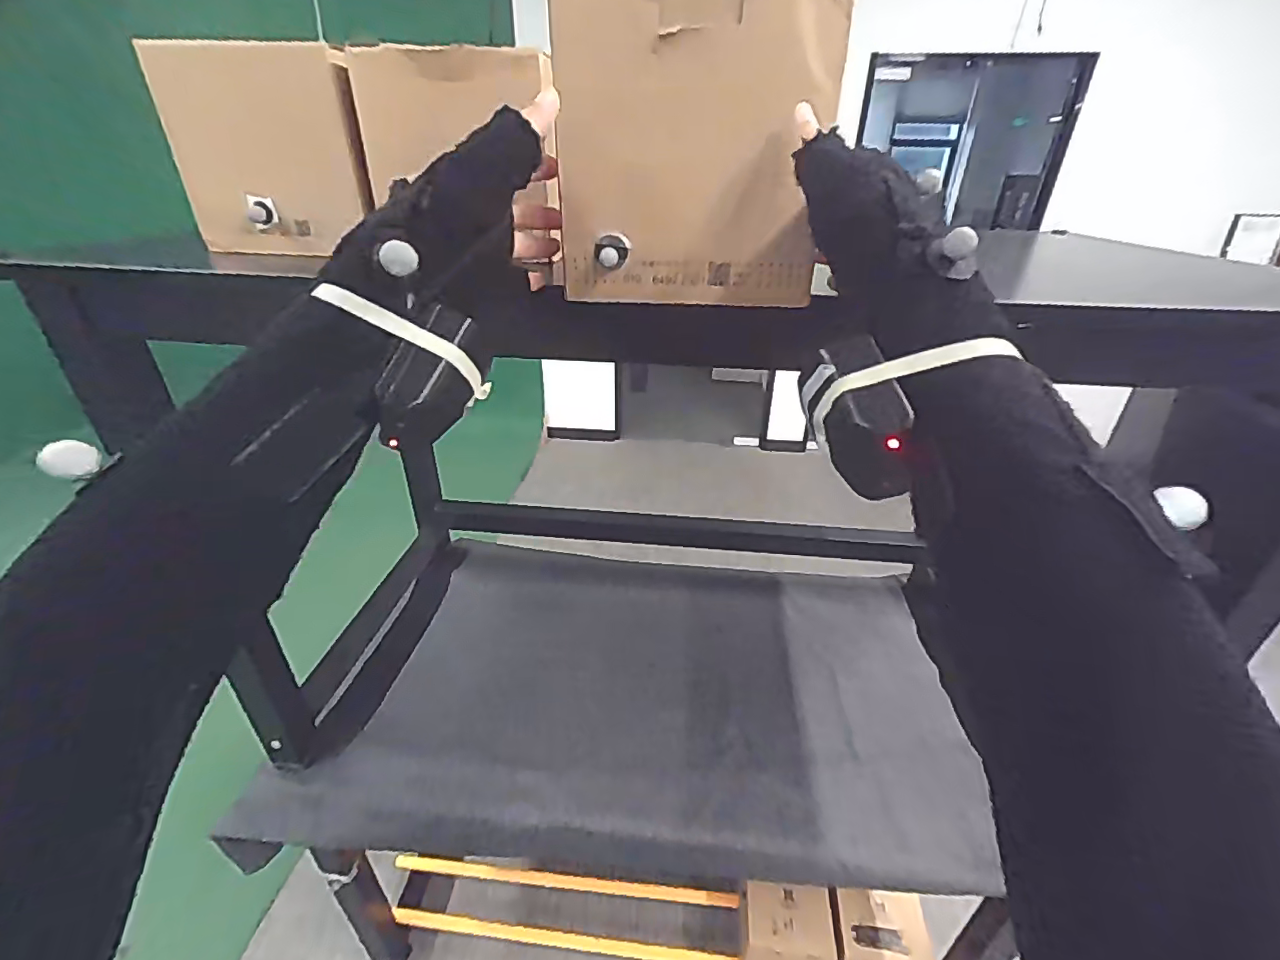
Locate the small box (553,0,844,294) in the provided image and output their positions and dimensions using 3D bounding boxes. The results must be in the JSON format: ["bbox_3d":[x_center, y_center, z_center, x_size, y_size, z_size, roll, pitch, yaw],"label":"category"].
[{"bbox_3d":[0.039,-0.238,0.404,0.168,0.176,0.179,3,28,3],"label":"small box"}]
